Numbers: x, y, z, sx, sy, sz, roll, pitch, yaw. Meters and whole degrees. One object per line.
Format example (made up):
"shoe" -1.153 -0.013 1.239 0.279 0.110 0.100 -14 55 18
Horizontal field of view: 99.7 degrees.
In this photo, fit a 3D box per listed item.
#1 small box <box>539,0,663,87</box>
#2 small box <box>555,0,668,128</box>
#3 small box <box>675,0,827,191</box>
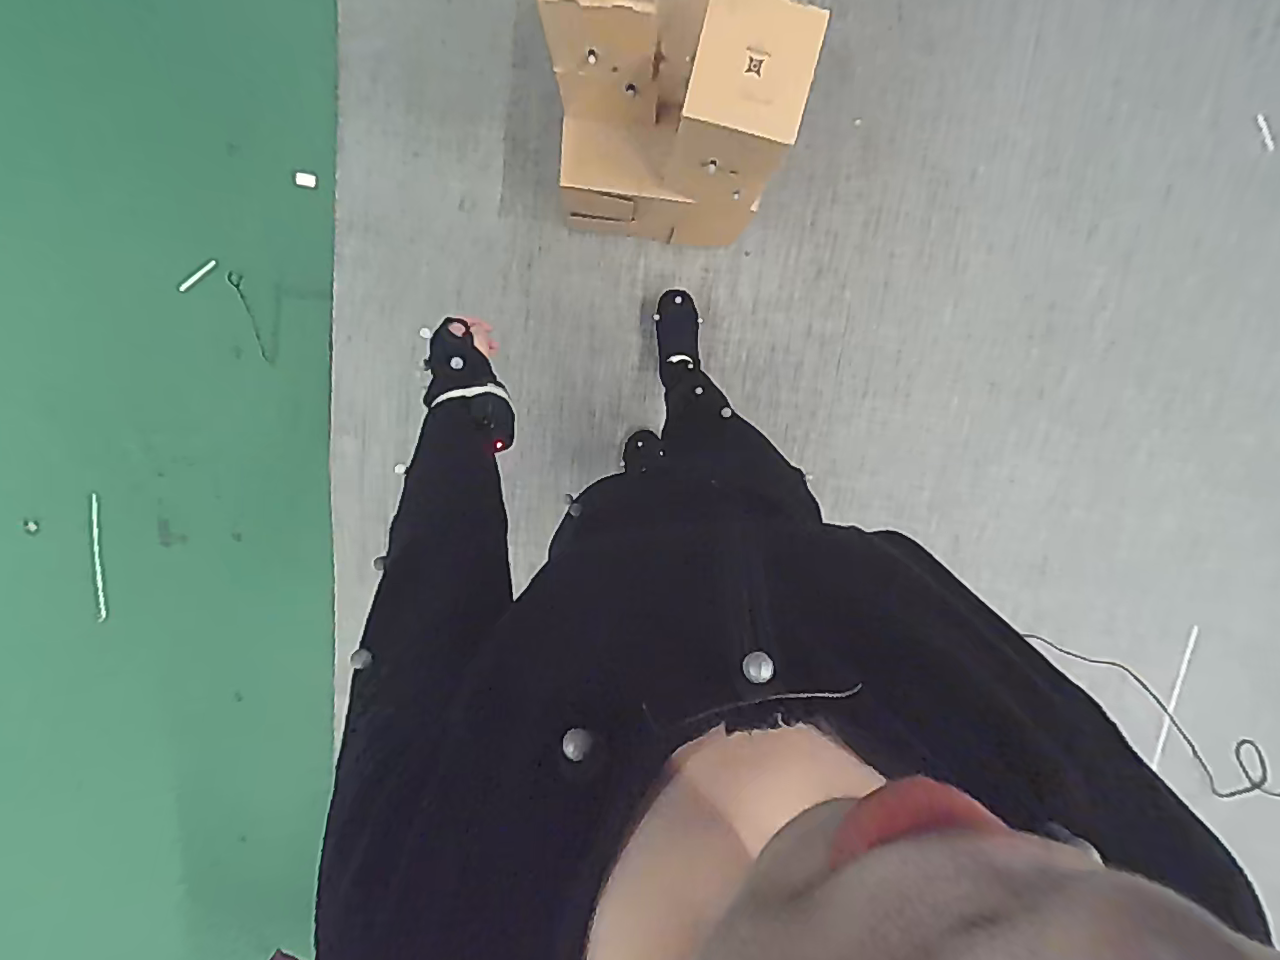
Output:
"small box" -0.050 -0.730 0.797 0.168 0.176 0.179 7 99 -2
"small box" -0.047 -0.755 0.959 0.179 0.176 0.168 5 98 -1
"small box" 0.154 -0.578 0.822 0.168 0.176 0.179 14 99 -3
